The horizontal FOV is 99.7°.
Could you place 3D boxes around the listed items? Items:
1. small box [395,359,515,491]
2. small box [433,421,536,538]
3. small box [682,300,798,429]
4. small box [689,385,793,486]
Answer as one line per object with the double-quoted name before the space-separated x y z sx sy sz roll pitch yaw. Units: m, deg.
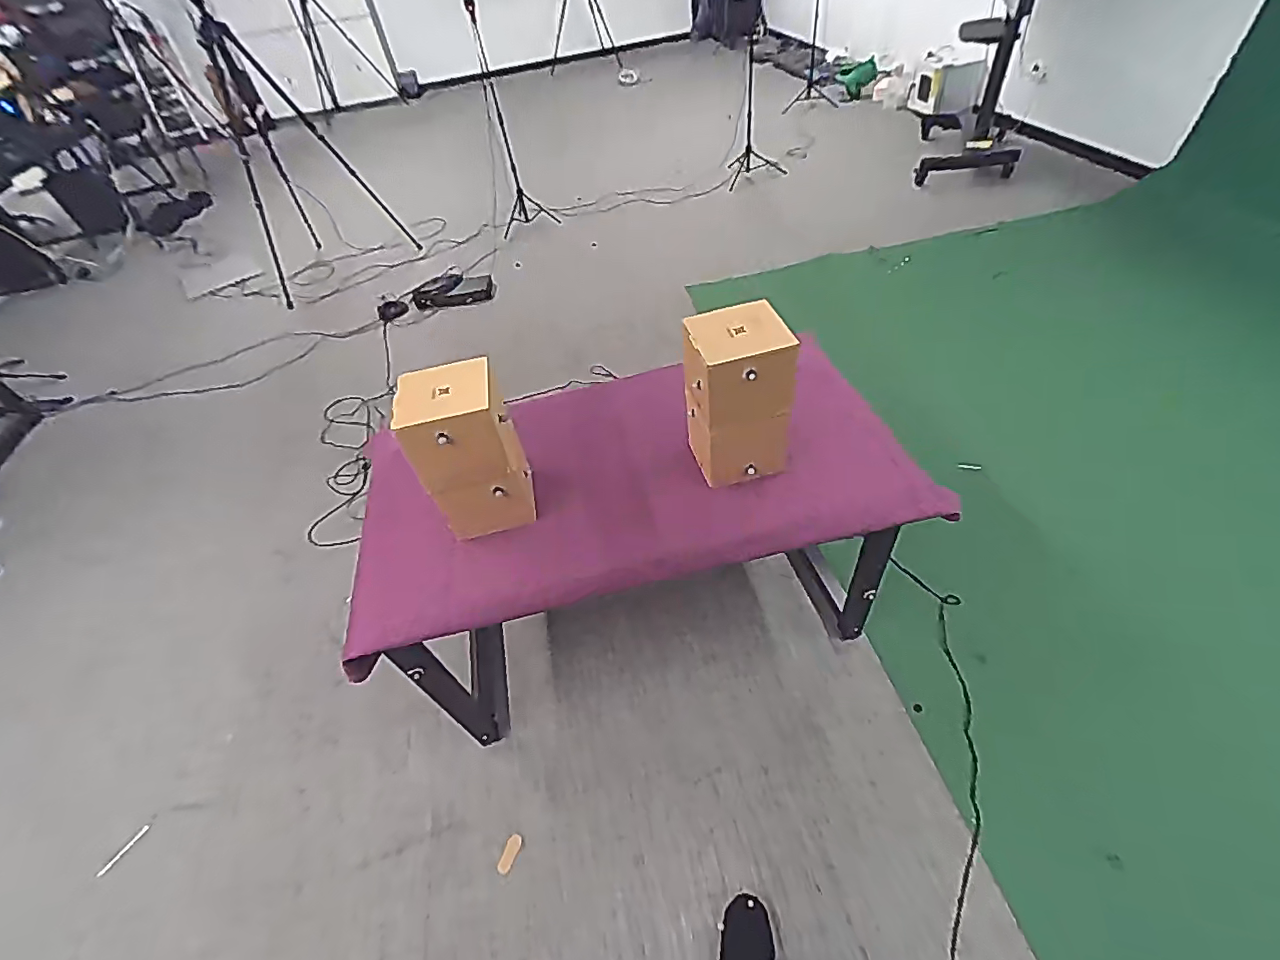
"small box" -0.348 -0.104 1.053 0.179 0.176 0.168 -14 48 -2
"small box" -0.329 0.002 1.174 0.179 0.176 0.168 -14 47 -3
"small box" 0.193 -0.222 1.063 0.179 0.176 0.168 -14 48 -2
"small box" 0.215 -0.112 1.182 0.179 0.176 0.168 -15 47 -4
